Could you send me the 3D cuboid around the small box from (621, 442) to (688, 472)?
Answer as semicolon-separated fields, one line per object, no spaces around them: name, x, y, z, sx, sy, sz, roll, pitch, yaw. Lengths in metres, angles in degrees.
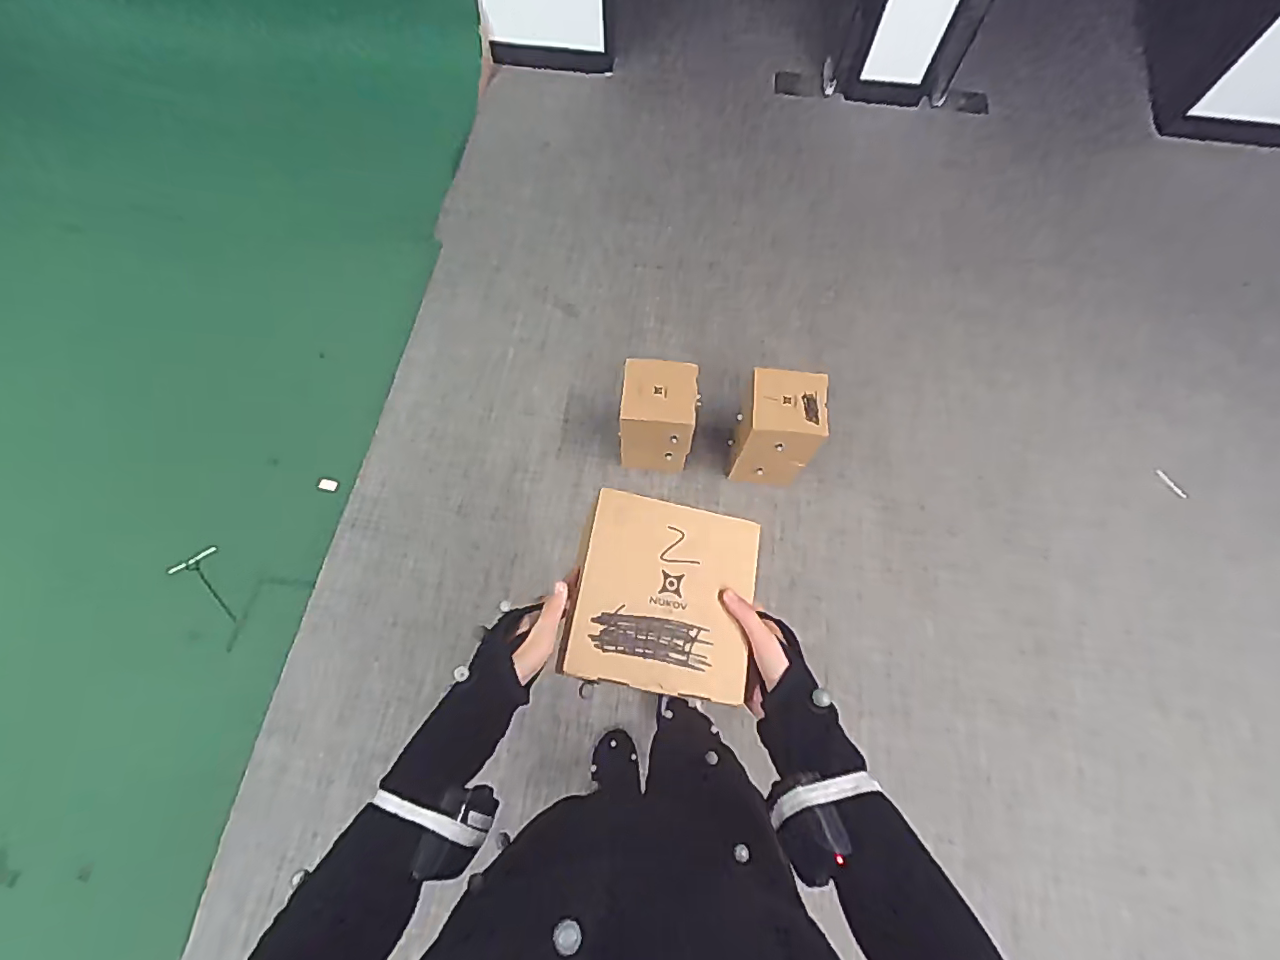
small box;0.043;-0.129;1.508;0.179;0.176;0.168;4;69;2

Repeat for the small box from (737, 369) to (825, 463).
small box;0.347;-0.153;1.343;0.179;0.176;0.168;6;68;3

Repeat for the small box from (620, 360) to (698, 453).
small box;0.046;-0.177;1.352;0.179;0.176;0.168;5;68;2
